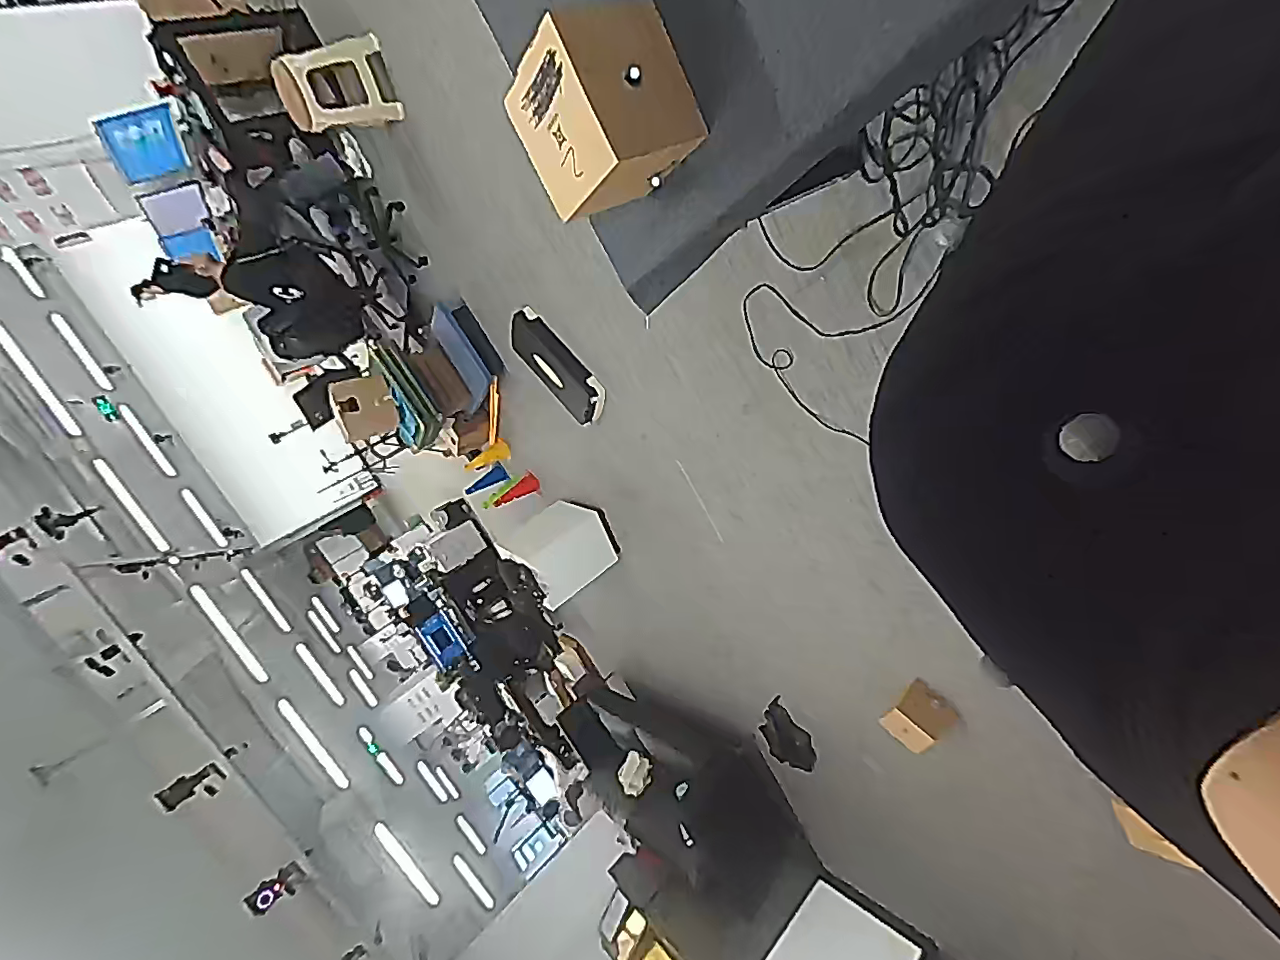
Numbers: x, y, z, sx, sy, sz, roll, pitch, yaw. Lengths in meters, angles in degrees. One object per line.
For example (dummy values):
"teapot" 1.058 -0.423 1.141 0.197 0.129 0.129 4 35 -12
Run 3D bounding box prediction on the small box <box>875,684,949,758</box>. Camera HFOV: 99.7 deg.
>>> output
"small box" 1.048 0.923 2.079 0.168 0.176 0.179 39 147 26

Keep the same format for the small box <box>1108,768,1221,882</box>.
"small box" 1.436 0.929 1.477 0.168 0.176 0.179 60 152 -9
